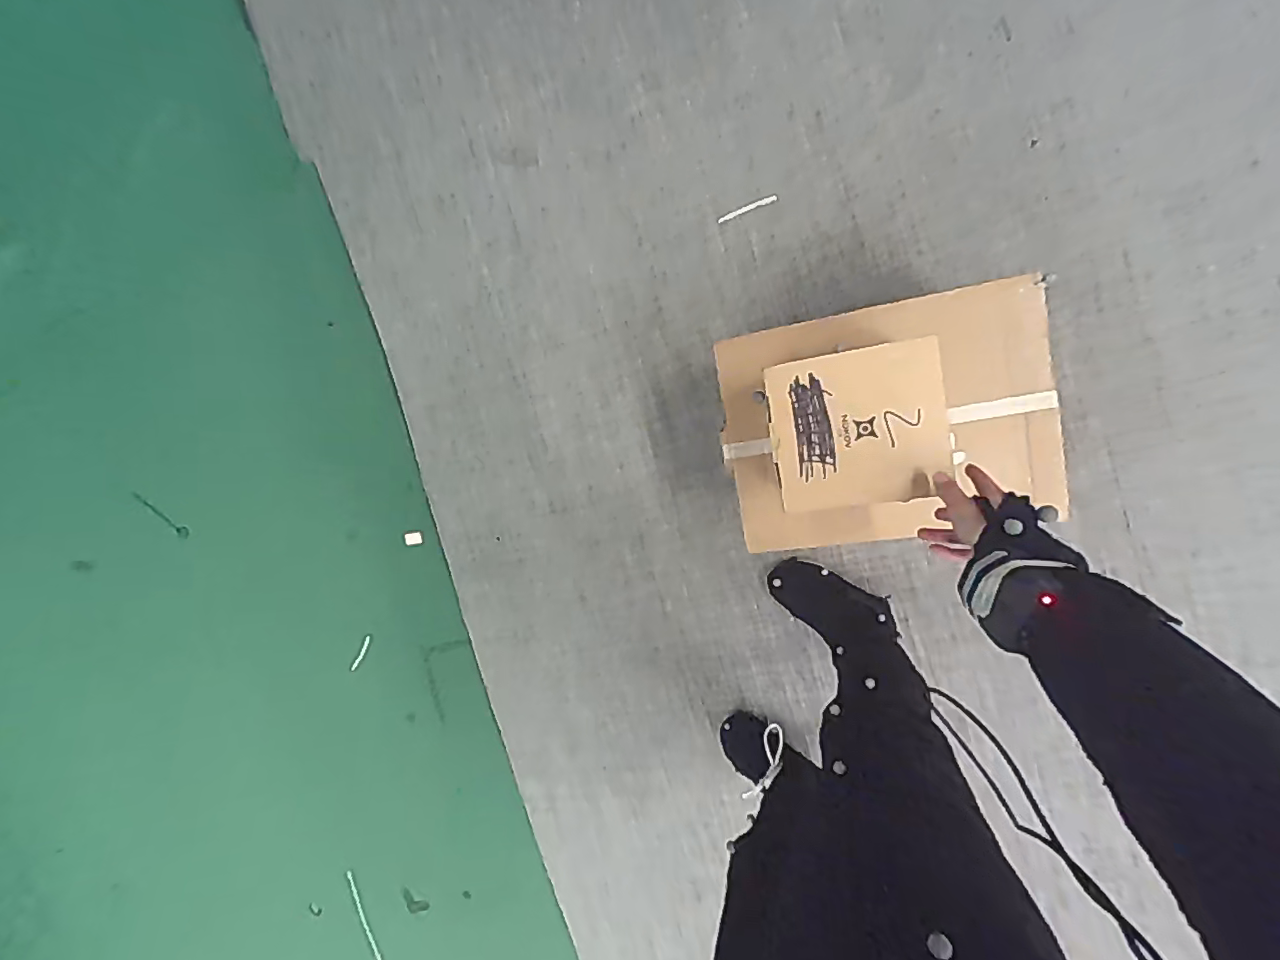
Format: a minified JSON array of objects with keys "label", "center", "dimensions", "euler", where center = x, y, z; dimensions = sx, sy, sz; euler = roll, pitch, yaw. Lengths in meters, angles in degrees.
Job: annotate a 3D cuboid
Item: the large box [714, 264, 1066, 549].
[{"label":"large box","center":[0.357,-0.100,0.863],"dimensions":[0.408,0.320,0.320],"euler":[-9,96,16]}]
